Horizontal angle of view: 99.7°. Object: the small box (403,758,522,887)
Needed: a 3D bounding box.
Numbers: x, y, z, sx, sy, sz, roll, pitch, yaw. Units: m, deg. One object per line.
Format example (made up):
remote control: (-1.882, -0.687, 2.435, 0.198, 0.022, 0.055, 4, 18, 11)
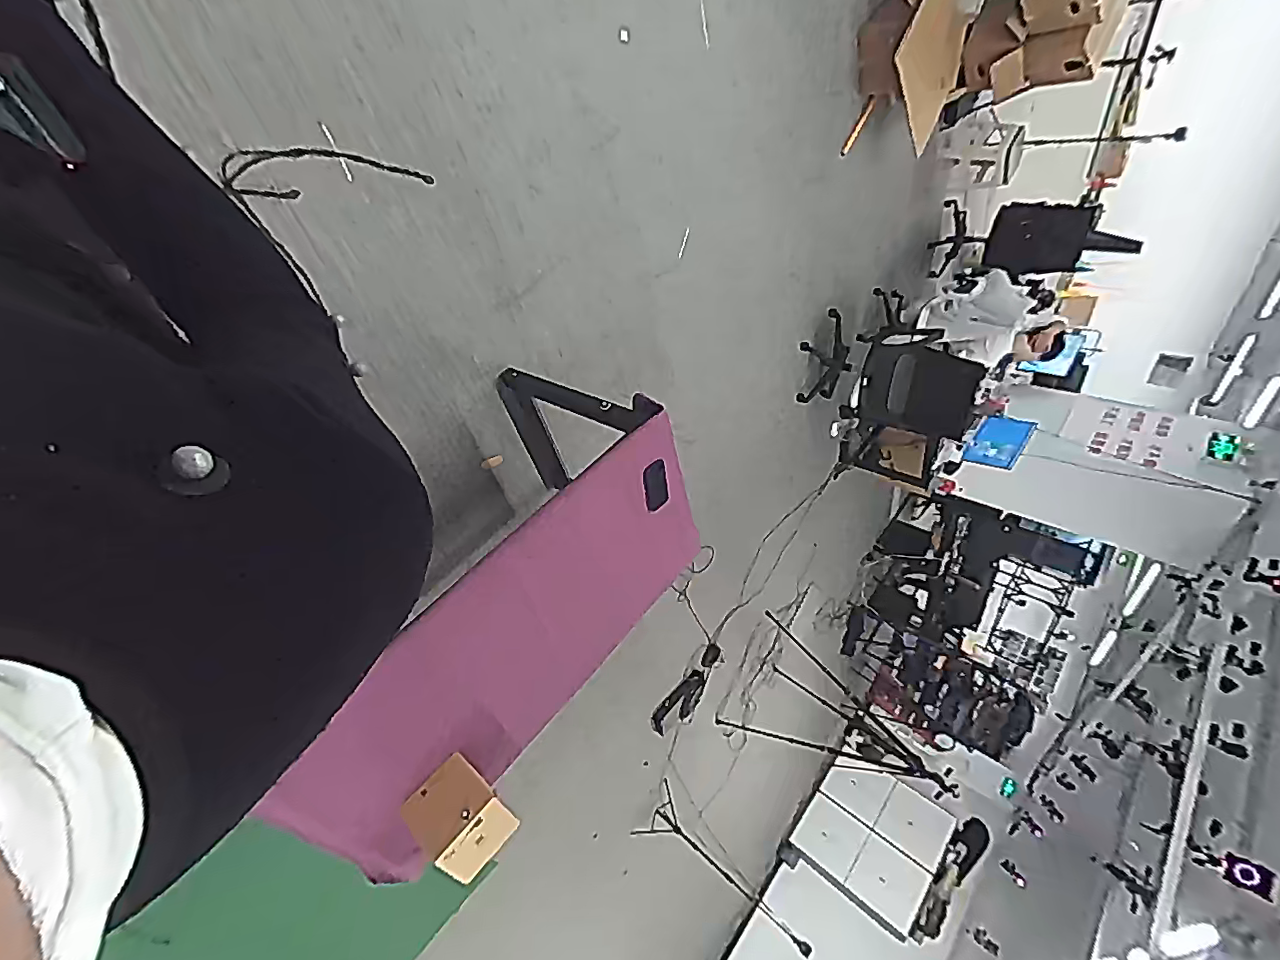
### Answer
small box: (-0.414, 0.795, 1.267, 0.168, 0.176, 0.179, -43, 137, -29)
